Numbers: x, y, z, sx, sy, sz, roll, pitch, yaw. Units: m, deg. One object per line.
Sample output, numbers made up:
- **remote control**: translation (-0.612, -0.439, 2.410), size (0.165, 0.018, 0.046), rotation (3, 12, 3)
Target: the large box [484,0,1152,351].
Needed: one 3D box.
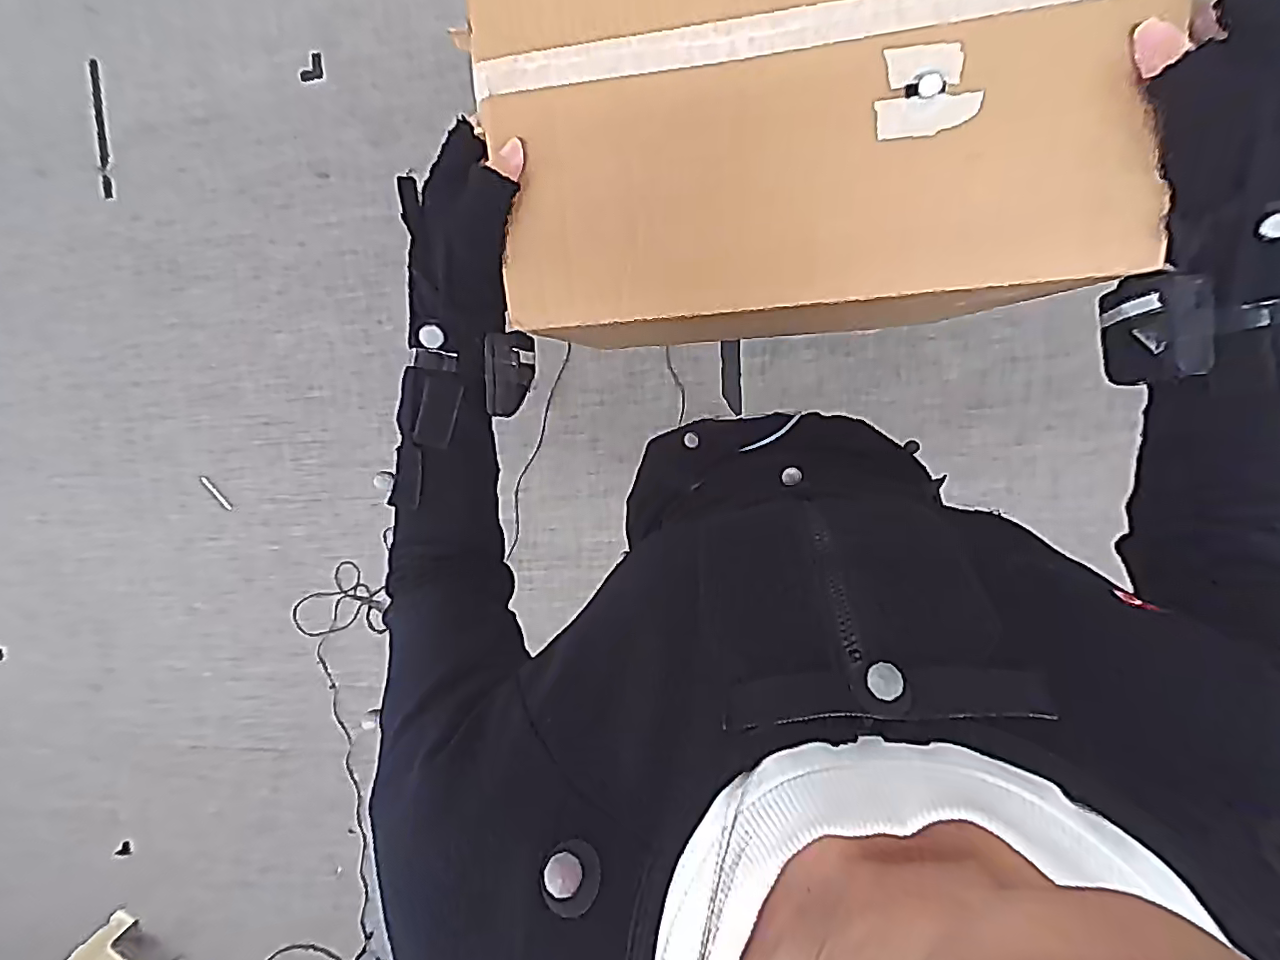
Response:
- **large box**: translation (0.113, -0.300, 0.482), size (0.408, 0.320, 0.320), rotation (-4, 101, 7)
